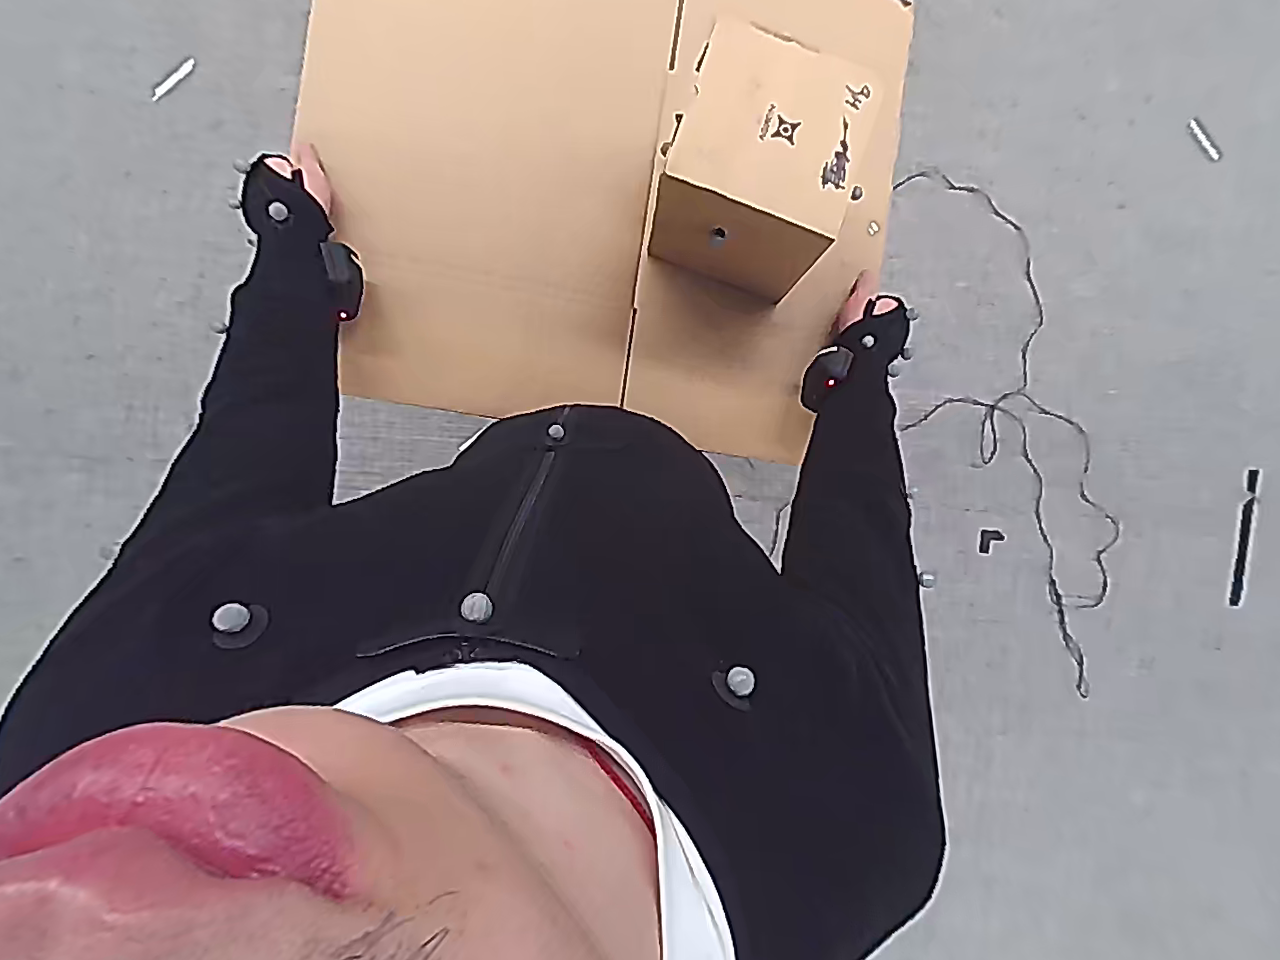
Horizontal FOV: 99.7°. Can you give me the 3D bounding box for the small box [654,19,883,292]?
[{"bbox_3d":[0.122,-0.330,0.590,0.179,0.176,0.168,19,88,-2],"label":"small box"}]
